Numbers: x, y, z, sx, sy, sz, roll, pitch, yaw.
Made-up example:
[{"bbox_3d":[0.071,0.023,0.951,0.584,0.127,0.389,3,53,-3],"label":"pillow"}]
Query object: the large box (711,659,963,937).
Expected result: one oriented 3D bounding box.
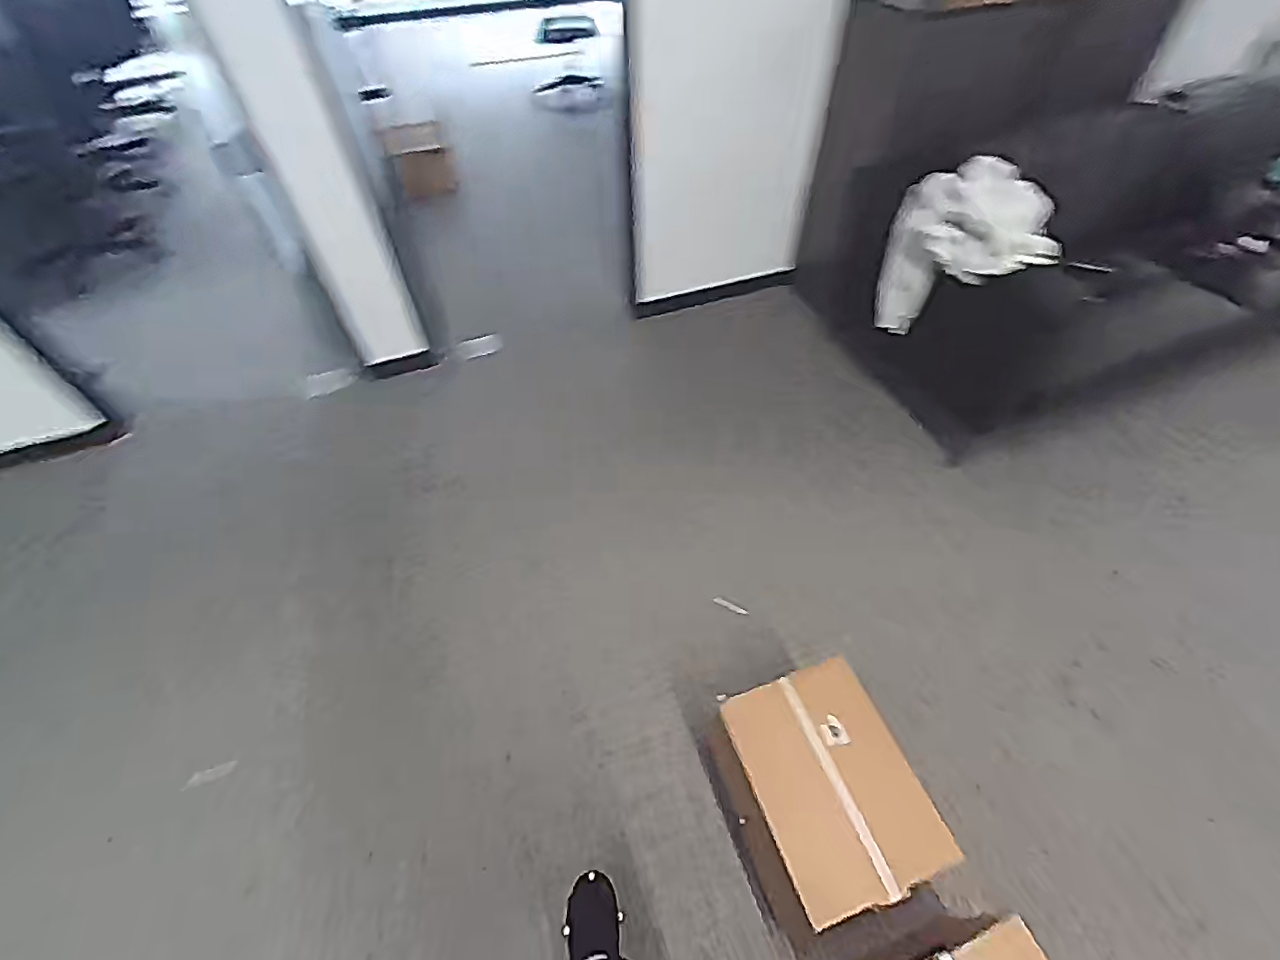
[{"bbox_3d":[0.375,0.674,1.163,0.320,0.320,0.408,-14,50,-11],"label":"large box"}]
